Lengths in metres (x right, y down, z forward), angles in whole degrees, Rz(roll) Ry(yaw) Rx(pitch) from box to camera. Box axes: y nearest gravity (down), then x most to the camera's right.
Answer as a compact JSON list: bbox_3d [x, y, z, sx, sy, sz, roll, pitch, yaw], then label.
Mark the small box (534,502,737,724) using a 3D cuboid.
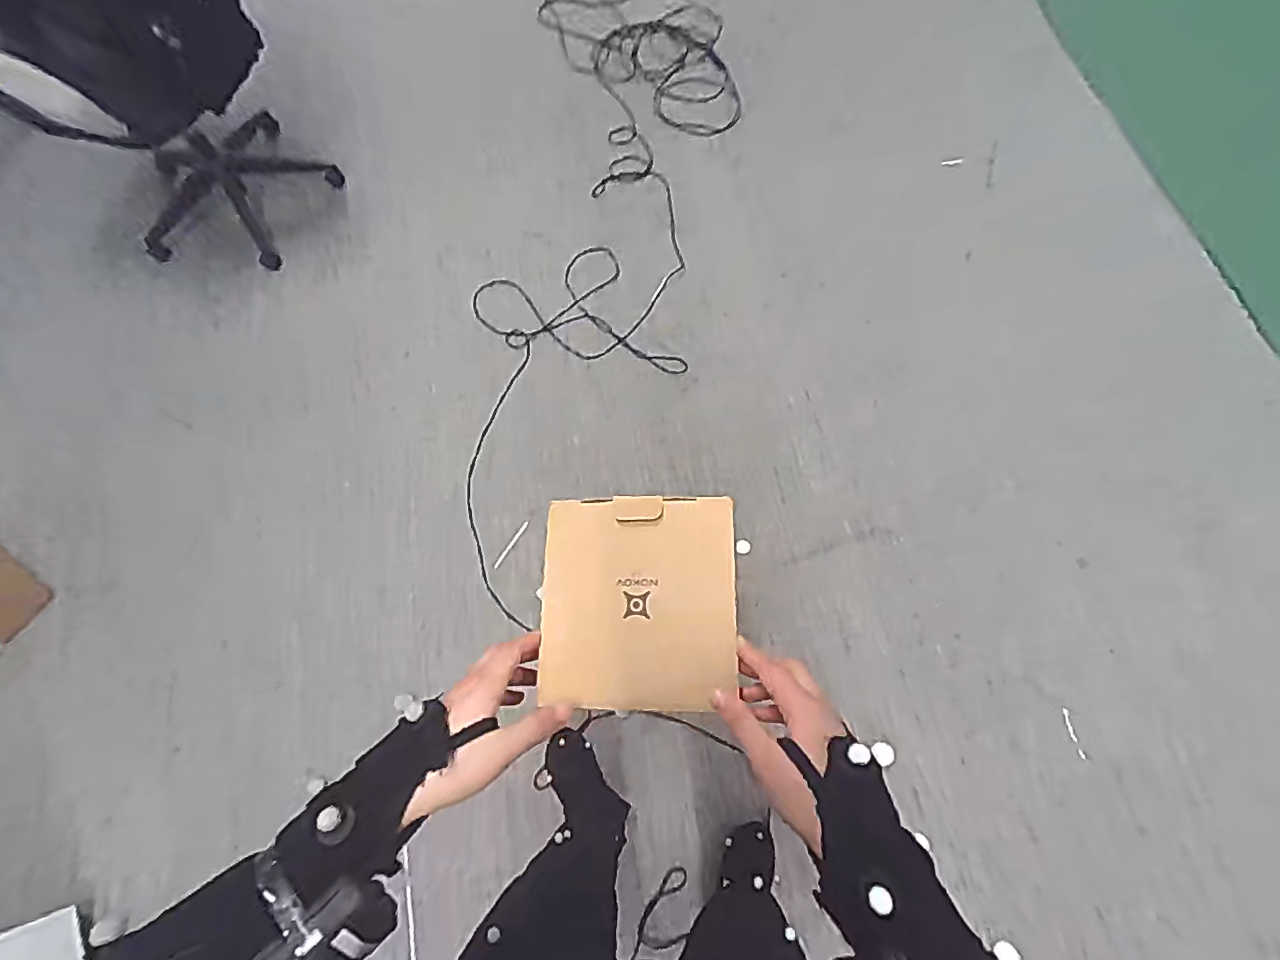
[{"bbox_3d":[0.009,0.125,0.521,0.168,0.176,0.179,-2,73,8],"label":"small box"}]
